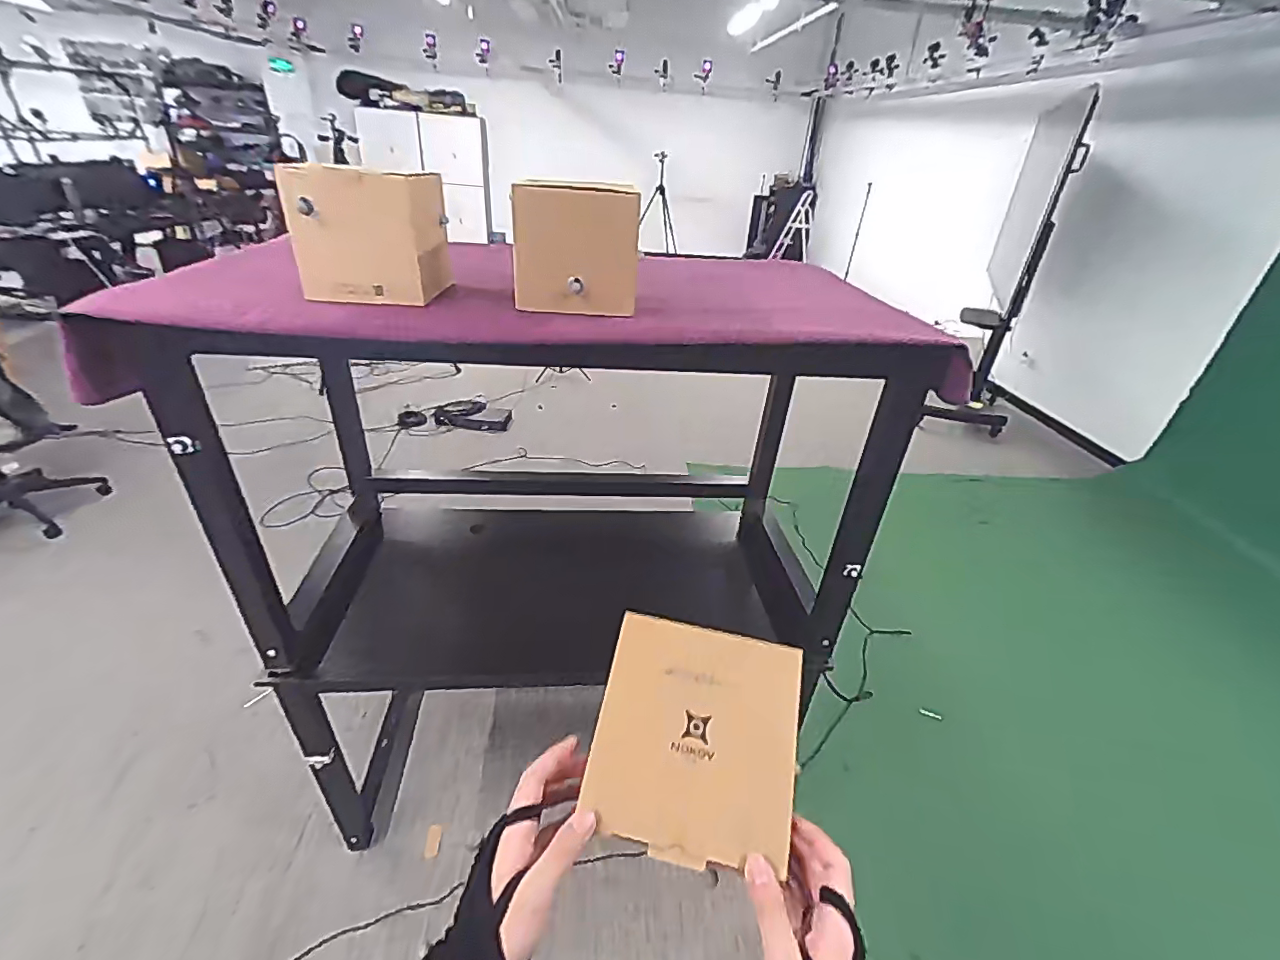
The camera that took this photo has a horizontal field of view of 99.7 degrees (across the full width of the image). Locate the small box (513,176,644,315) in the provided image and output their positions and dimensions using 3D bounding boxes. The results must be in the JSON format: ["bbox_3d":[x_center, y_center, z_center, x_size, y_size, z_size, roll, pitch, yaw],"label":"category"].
[{"bbox_3d":[-0.093,-0.355,0.822,0.179,0.176,0.168,2,30,-6],"label":"small box"}]
